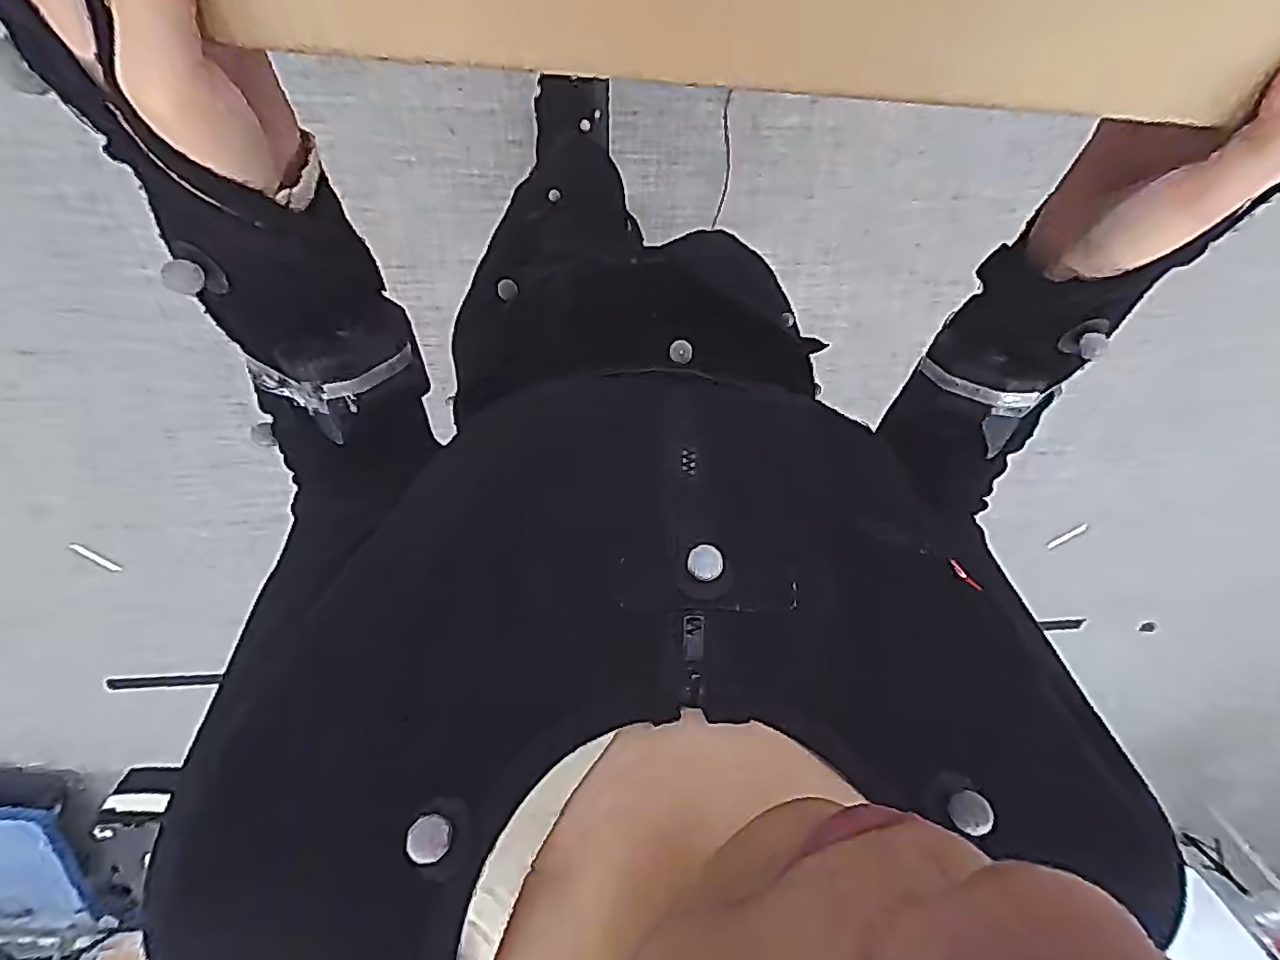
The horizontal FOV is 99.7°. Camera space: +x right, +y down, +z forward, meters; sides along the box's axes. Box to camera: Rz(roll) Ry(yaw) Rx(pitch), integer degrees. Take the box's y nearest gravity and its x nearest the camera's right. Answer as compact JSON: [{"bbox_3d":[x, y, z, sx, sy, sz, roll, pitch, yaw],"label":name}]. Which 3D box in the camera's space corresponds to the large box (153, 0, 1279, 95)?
[{"bbox_3d":[0.049,-0.351,0.155,0.408,0.320,0.320,-1,143,-6],"label":"large box"}]
